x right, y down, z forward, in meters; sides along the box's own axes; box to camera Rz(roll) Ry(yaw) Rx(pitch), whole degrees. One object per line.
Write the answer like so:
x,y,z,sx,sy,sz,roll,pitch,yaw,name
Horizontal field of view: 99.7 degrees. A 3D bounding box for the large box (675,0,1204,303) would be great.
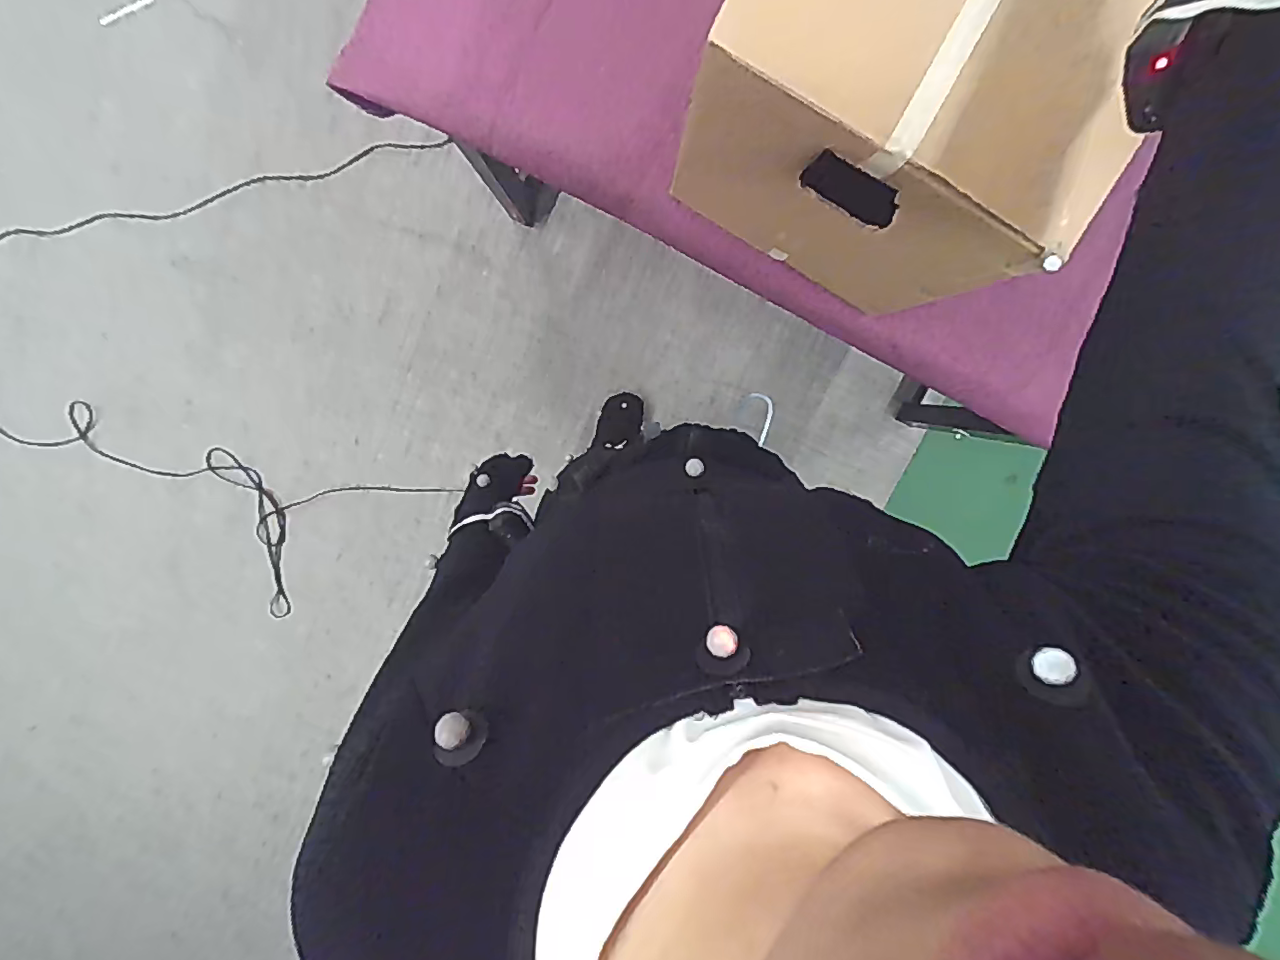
0.271,-0.444,0.526,0.320,0.320,0.408,28,99,-6,large box
